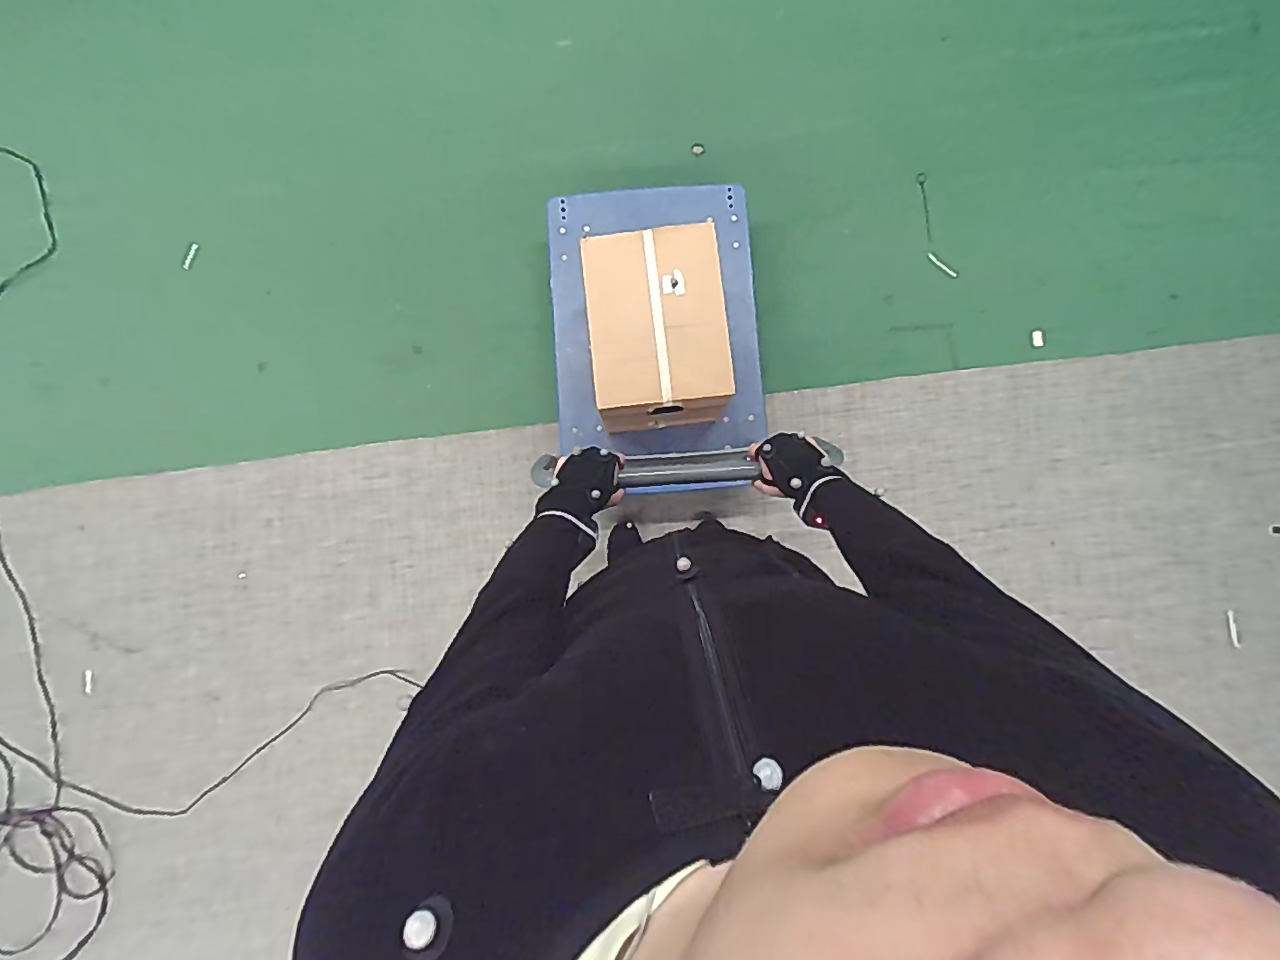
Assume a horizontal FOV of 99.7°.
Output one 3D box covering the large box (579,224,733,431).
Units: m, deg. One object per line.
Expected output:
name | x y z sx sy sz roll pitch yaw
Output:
large box | 0.039 -0.361 1.375 0.320 0.320 0.408 -6 85 0
